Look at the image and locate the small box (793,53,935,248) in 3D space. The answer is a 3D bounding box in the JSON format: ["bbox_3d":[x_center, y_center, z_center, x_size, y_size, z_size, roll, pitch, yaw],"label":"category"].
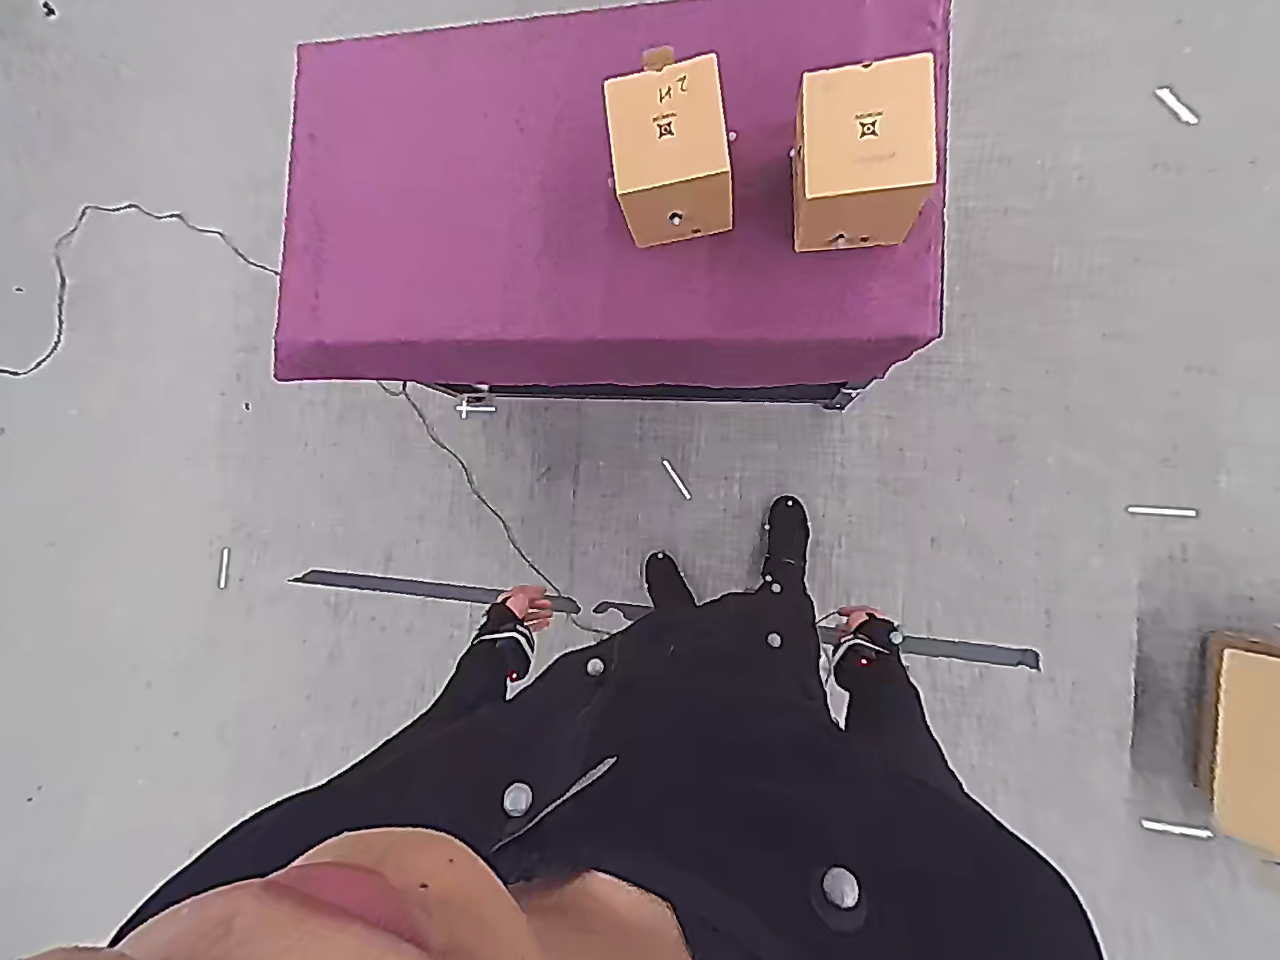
[{"bbox_3d":[0.317,-0.470,0.797,0.168,0.176,0.179,-1,87,11],"label":"small box"}]

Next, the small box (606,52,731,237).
[{"bbox_3d":[0.052,-0.505,0.847,0.168,0.176,0.179,-7,86,10],"label":"small box"}]
